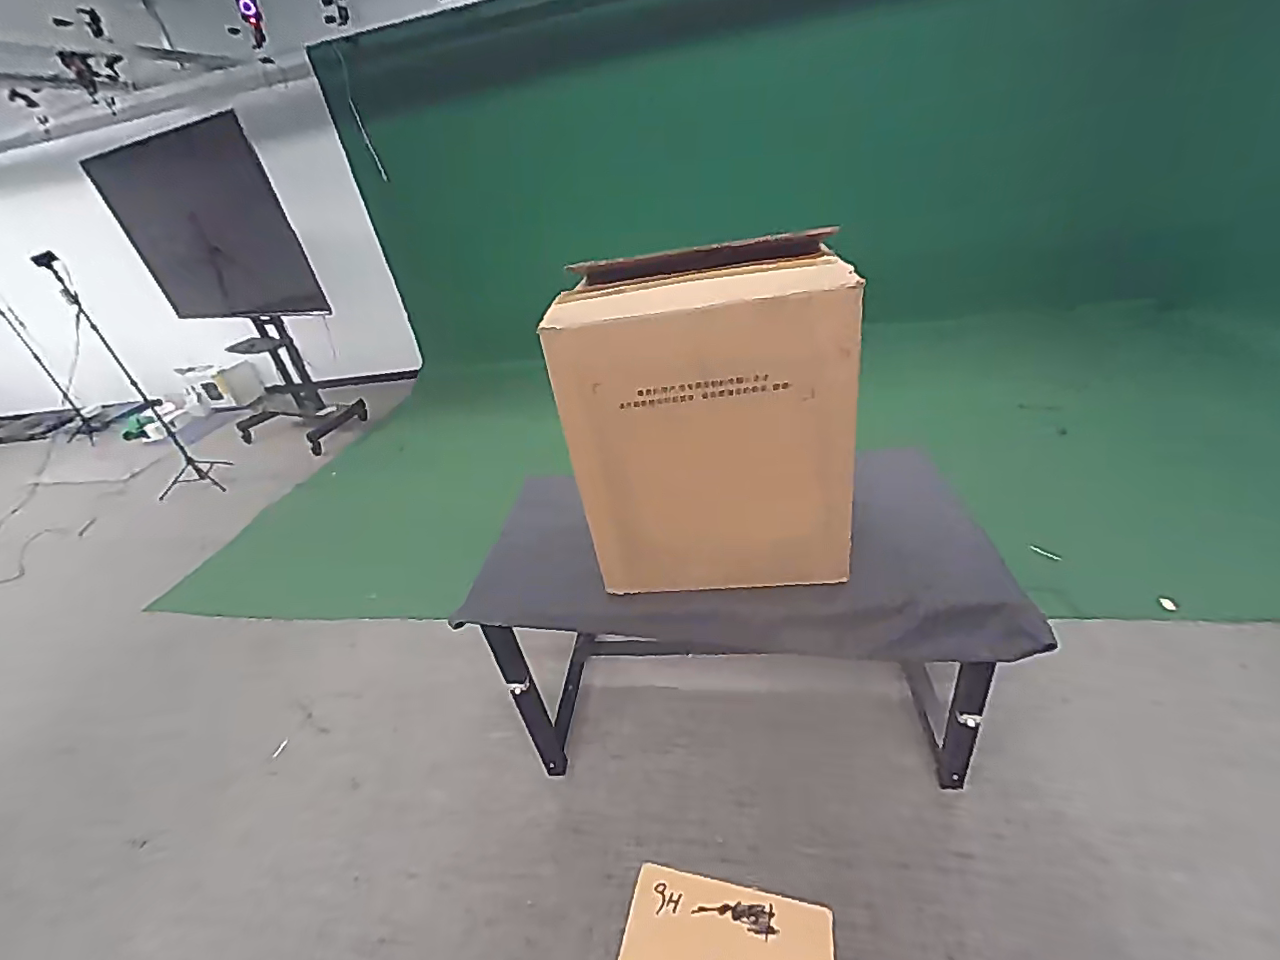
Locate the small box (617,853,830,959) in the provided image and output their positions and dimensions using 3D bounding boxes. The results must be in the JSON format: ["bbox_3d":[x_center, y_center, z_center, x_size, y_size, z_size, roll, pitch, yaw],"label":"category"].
[{"bbox_3d":[0.063,0.458,0.439,0.168,0.176,0.179,4,27,14],"label":"small box"}]
